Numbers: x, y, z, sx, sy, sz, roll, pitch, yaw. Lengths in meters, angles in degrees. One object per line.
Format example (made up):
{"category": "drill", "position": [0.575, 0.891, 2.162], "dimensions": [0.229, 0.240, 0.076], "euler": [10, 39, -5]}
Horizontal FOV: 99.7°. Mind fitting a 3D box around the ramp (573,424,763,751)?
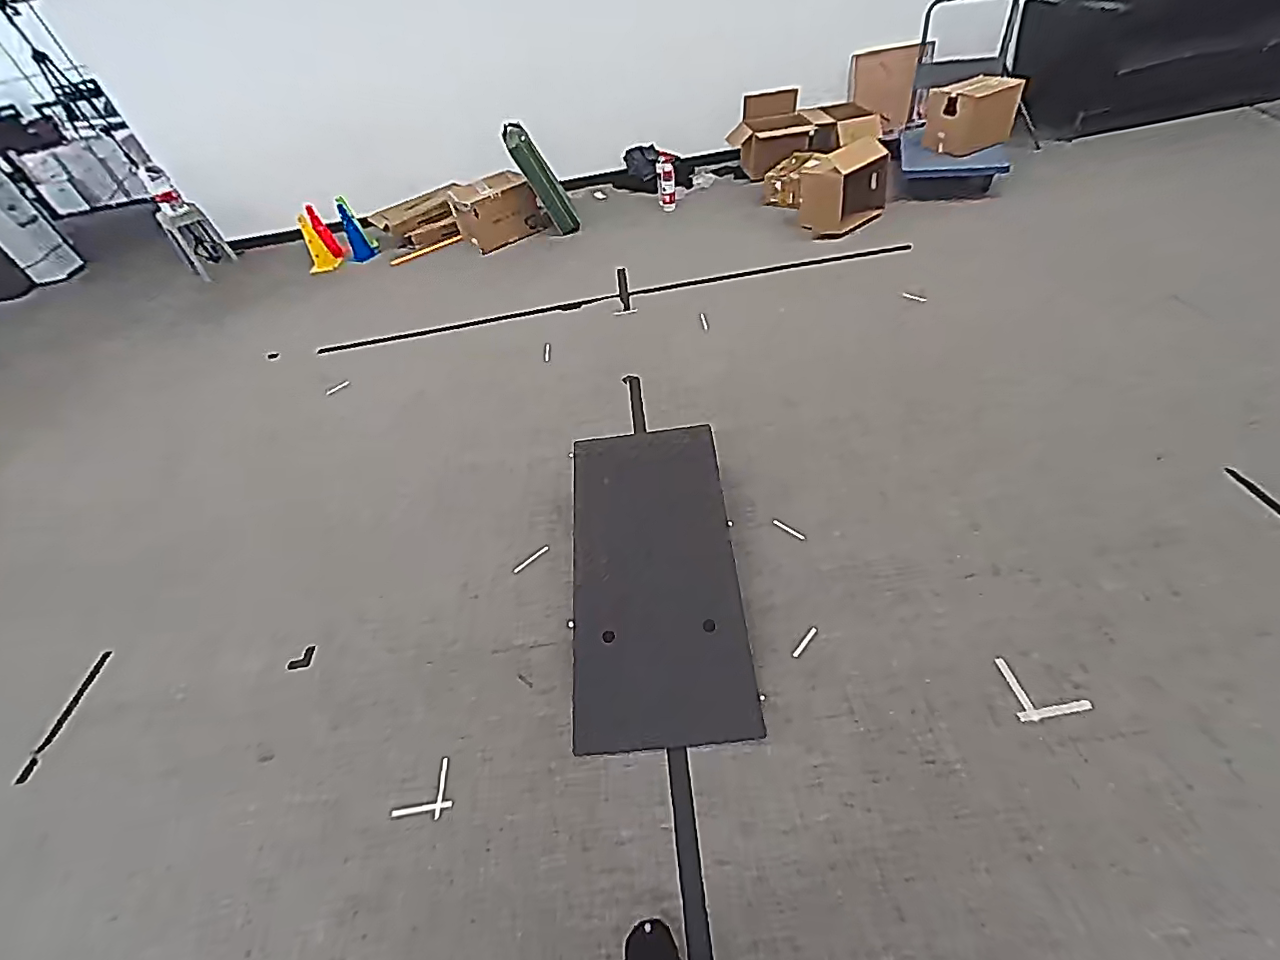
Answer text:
{"category": "ramp", "position": [0.039, 0.250, 1.638], "dimensions": [0.509, 0.206, 0.991], "euler": [-8, 46, 2]}
